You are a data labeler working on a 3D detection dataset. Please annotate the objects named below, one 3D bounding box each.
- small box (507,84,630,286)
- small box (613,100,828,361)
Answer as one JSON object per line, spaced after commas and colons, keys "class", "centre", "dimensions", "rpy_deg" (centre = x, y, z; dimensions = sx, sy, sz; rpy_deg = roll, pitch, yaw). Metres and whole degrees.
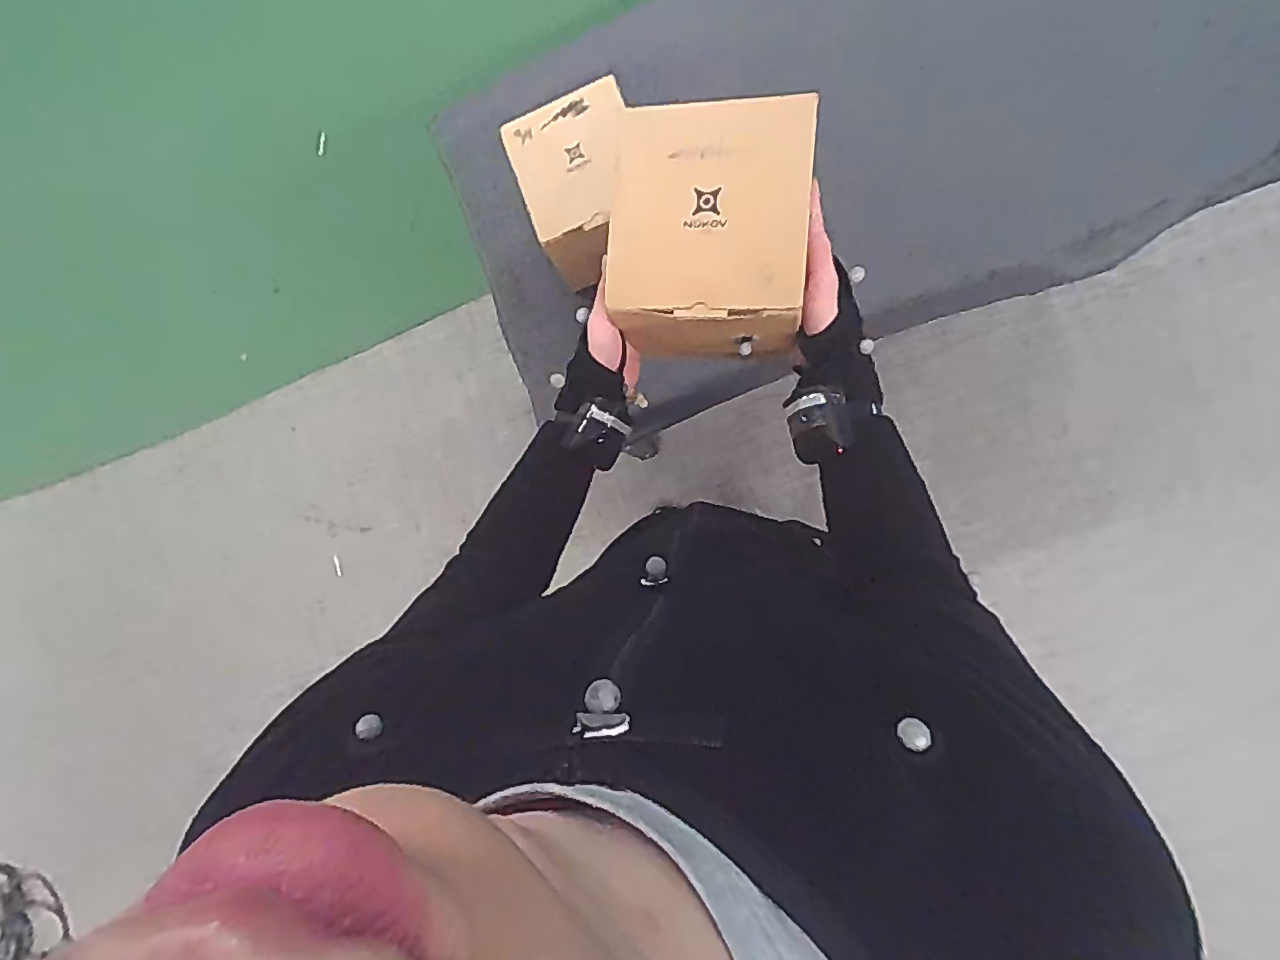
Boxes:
{"class": "small box", "centre": [-0.064, -0.404, 0.782], "dimensions": [0.168, 0.176, 0.179], "rpy_deg": [-20, 85, 7]}
{"class": "small box", "centre": [0.079, -0.219, 0.520], "dimensions": [0.168, 0.176, 0.179], "rpy_deg": [4, 88, 11]}
